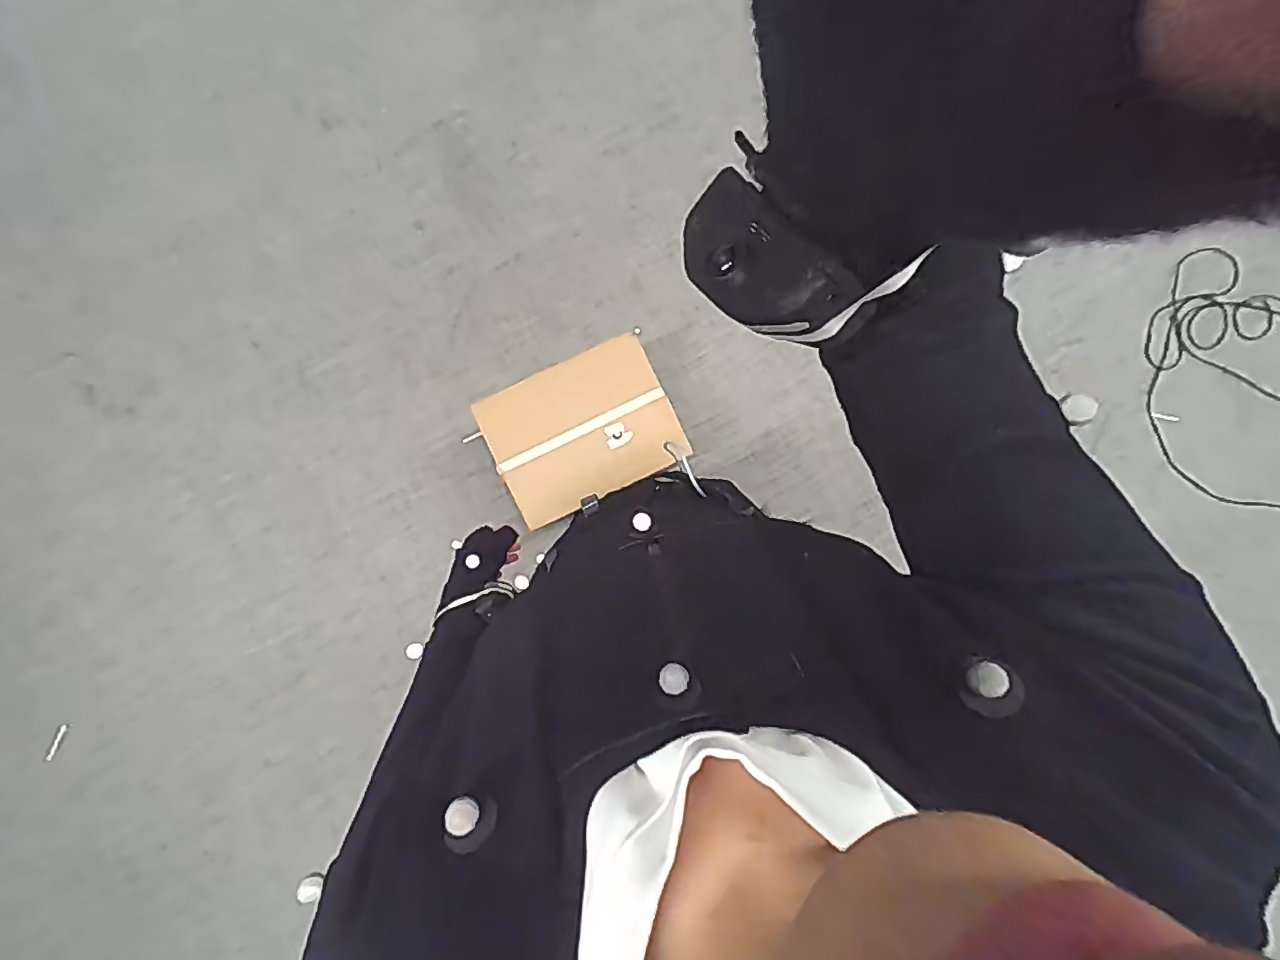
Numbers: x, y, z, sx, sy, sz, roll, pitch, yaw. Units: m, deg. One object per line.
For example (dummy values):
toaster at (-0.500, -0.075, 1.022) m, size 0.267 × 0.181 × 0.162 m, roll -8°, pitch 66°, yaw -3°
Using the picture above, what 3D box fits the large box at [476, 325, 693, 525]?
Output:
large box at (-0.127, -0.117, 1.342) m, size 0.408 × 0.320 × 0.320 m, roll -26°, pitch 90°, yaw -2°
